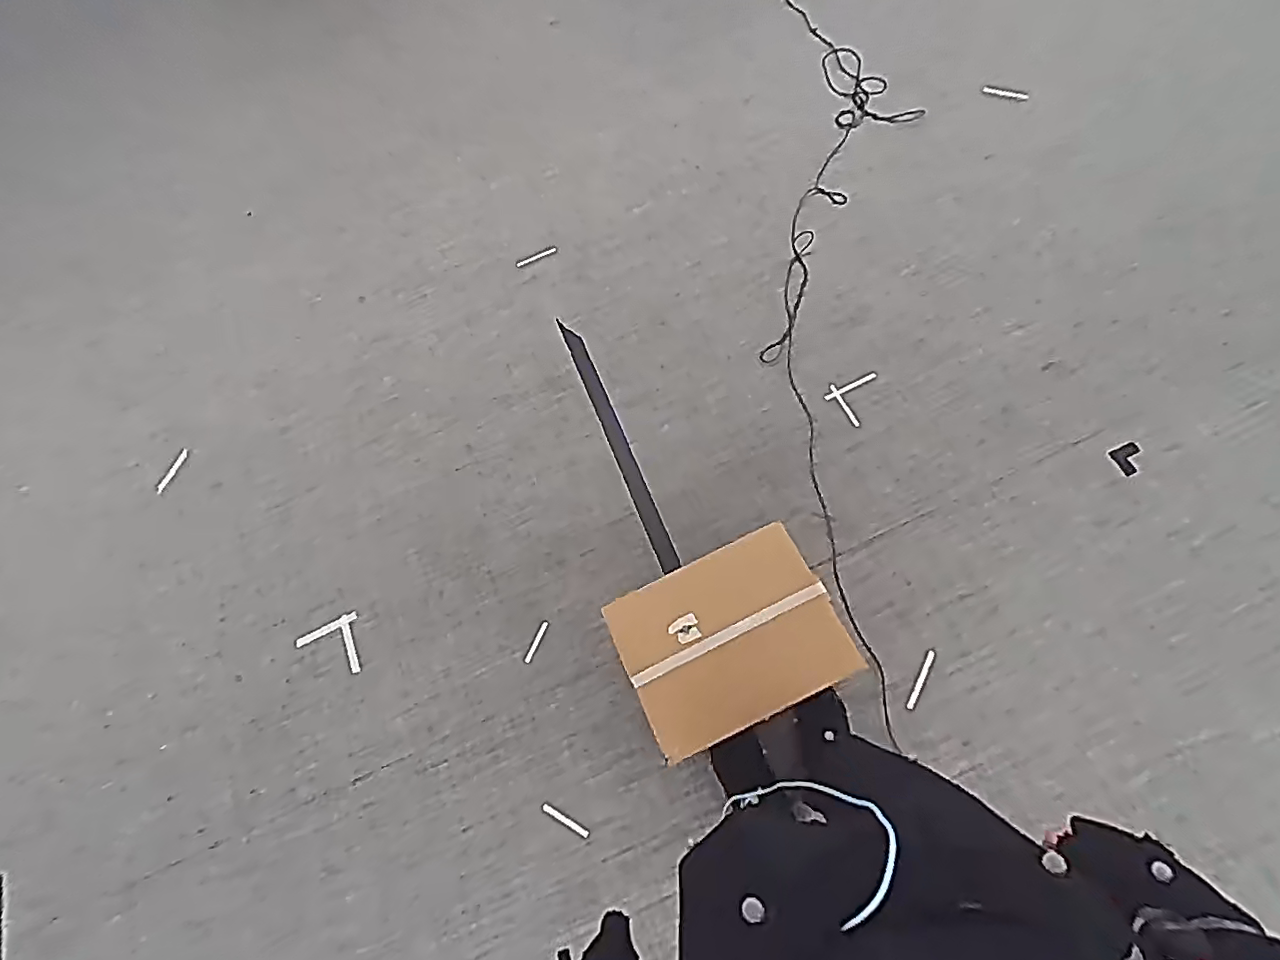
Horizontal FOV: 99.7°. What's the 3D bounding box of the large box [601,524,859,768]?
[{"bbox_3d":[0.183,0.350,1.164,0.408,0.320,0.320,-27,67,-1],"label":"large box"}]
